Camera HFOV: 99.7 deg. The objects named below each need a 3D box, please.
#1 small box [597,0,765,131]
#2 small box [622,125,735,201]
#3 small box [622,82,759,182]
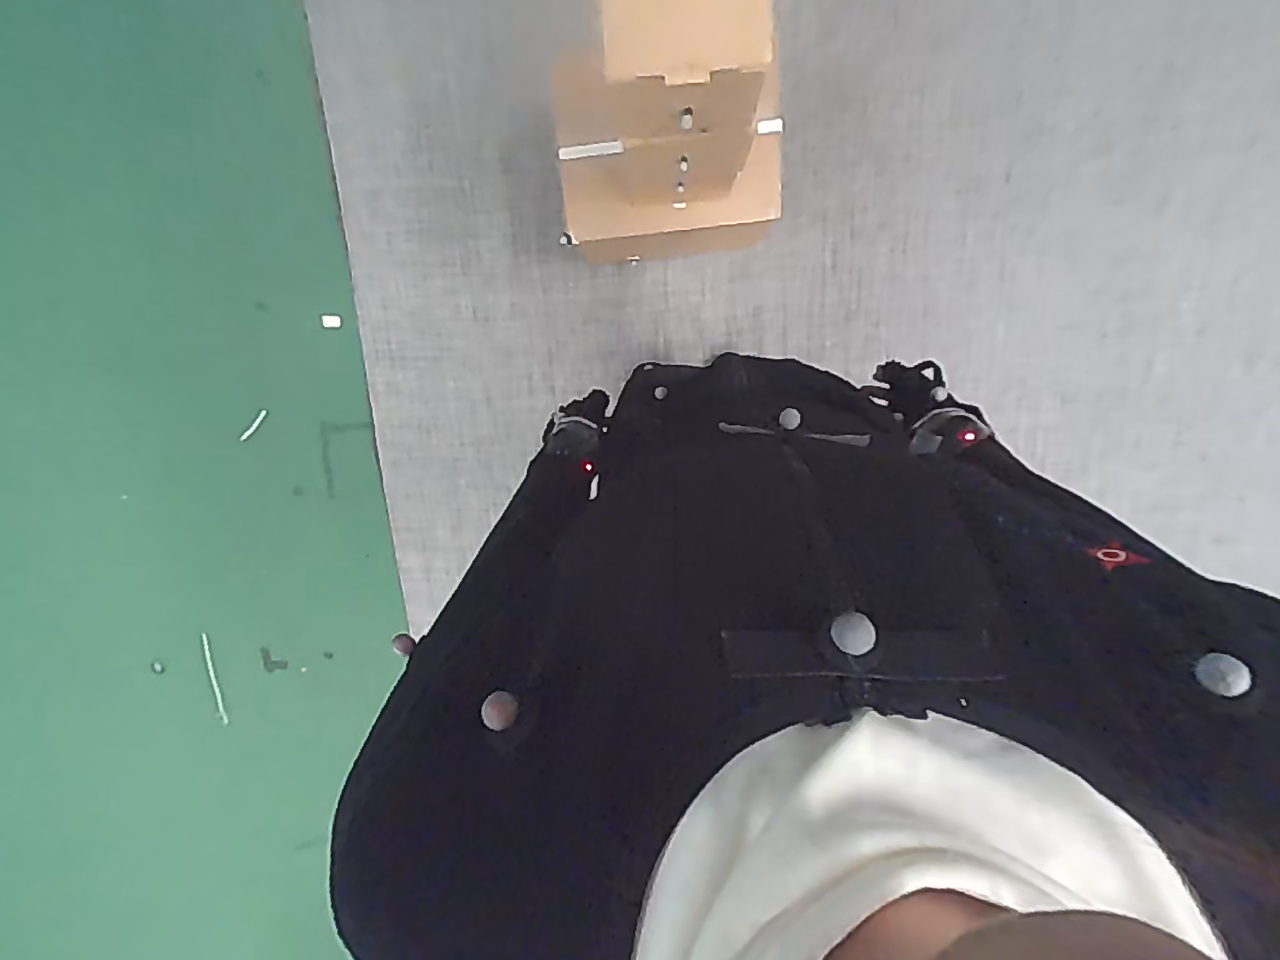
[{"bbox_3d":[0.046,-0.504,0.591,0.168,0.176,0.179,0,105,5],"label":"small box"},{"bbox_3d":[0.064,-0.581,0.909,0.179,0.176,0.168,-3,105,4],"label":"small box"},{"bbox_3d":[0.060,-0.535,0.751,0.179,0.176,0.168,-7,104,5],"label":"small box"}]
